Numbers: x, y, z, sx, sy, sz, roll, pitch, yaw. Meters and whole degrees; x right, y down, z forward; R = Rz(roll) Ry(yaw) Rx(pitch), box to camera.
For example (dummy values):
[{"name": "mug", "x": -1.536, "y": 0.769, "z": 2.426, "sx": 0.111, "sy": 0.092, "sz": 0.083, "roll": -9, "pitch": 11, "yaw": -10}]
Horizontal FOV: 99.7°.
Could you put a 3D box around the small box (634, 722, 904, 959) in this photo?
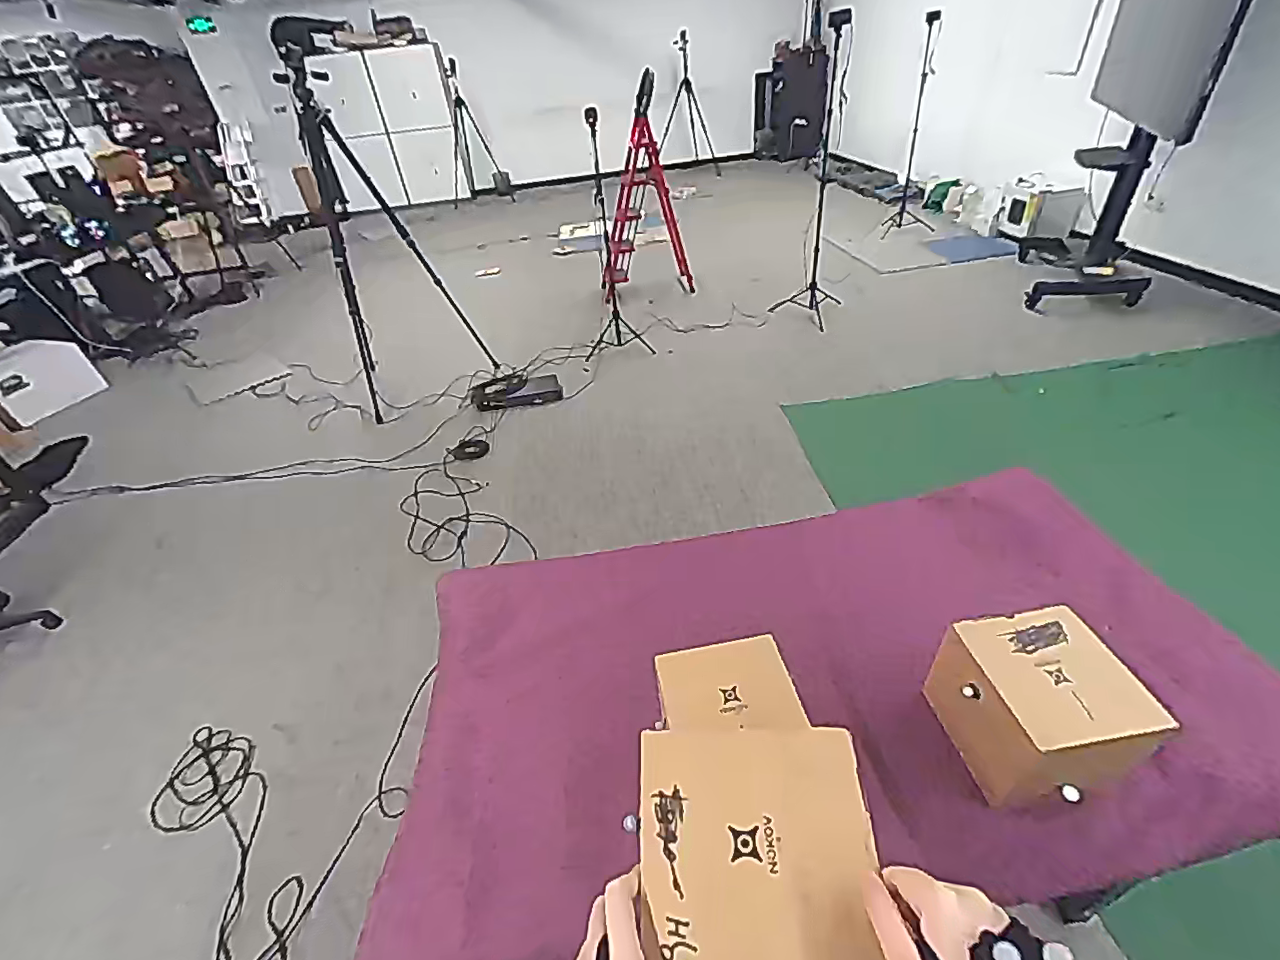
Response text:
[{"name": "small box", "x": 0.089, "y": 0.314, "z": 0.451, "sx": 0.179, "sy": 0.176, "sz": 0.168, "roll": -2, "pitch": 48, "yaw": 4}]

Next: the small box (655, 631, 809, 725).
[{"name": "small box", "x": 0.117, "y": 0.332, "z": 0.711, "sx": 0.168, "sy": 0.176, "sz": 0.179, "roll": -10, "pitch": 37, "yaw": -3}]

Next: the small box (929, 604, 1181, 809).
[{"name": "small box", "x": 0.510, "y": 0.292, "z": 0.704, "sx": 0.168, "sy": 0.176, "sz": 0.179, "roll": -9, "pitch": 38, "yaw": -2}]
